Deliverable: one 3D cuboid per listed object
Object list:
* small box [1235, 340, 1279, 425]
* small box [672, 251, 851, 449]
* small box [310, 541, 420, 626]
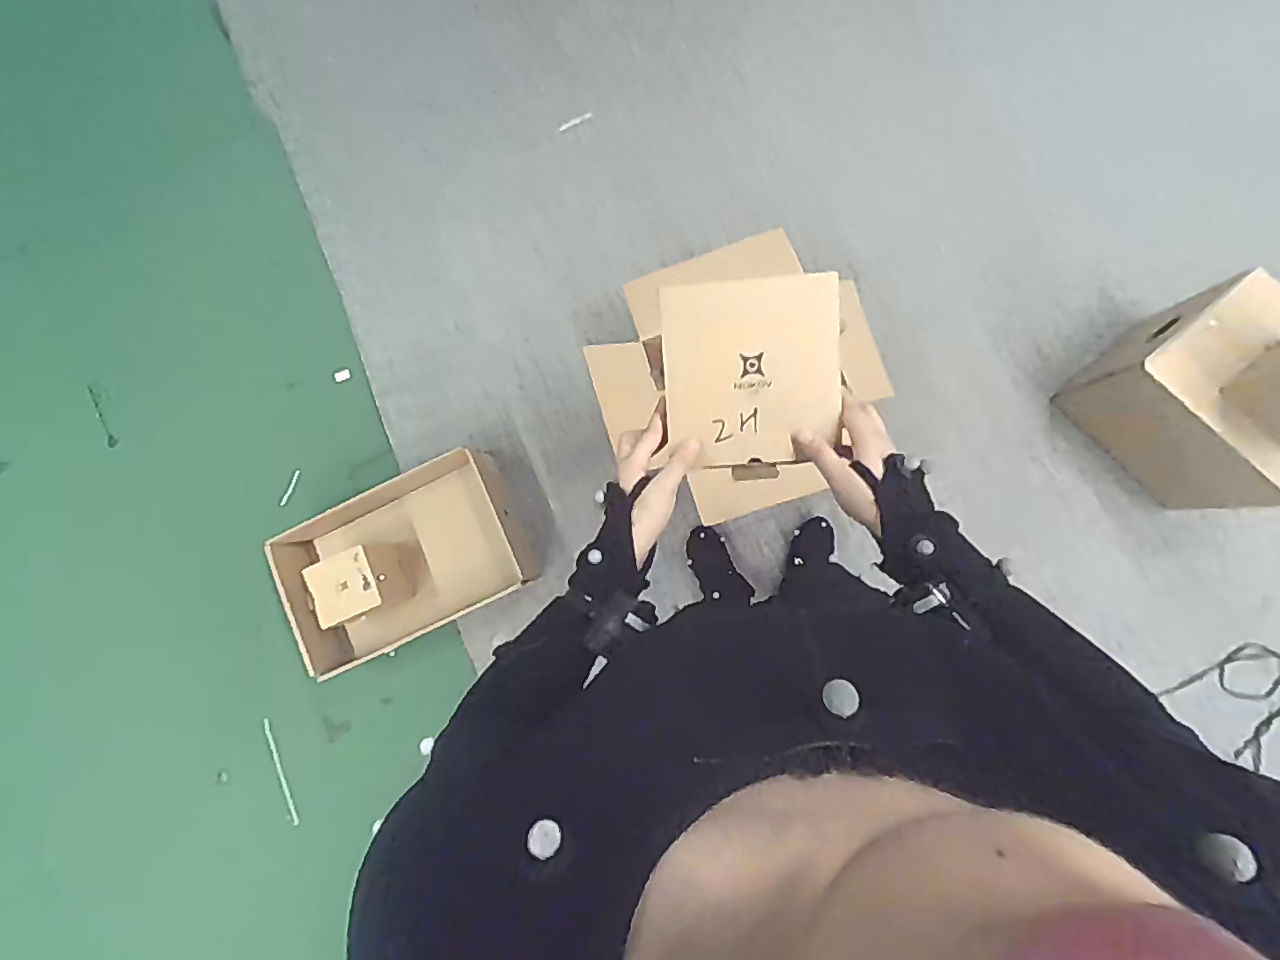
[{"bbox_3d":[1.282,-0.198,0.986,0.168,0.176,0.179,-42,82,3],"label":"small box"},{"bbox_3d":[0.119,-0.127,0.585,0.168,0.176,0.179,-3,97,6],"label":"small box"},{"bbox_3d":[-0.727,0.272,1.445,0.179,0.176,0.168,-24,82,4],"label":"small box"}]
